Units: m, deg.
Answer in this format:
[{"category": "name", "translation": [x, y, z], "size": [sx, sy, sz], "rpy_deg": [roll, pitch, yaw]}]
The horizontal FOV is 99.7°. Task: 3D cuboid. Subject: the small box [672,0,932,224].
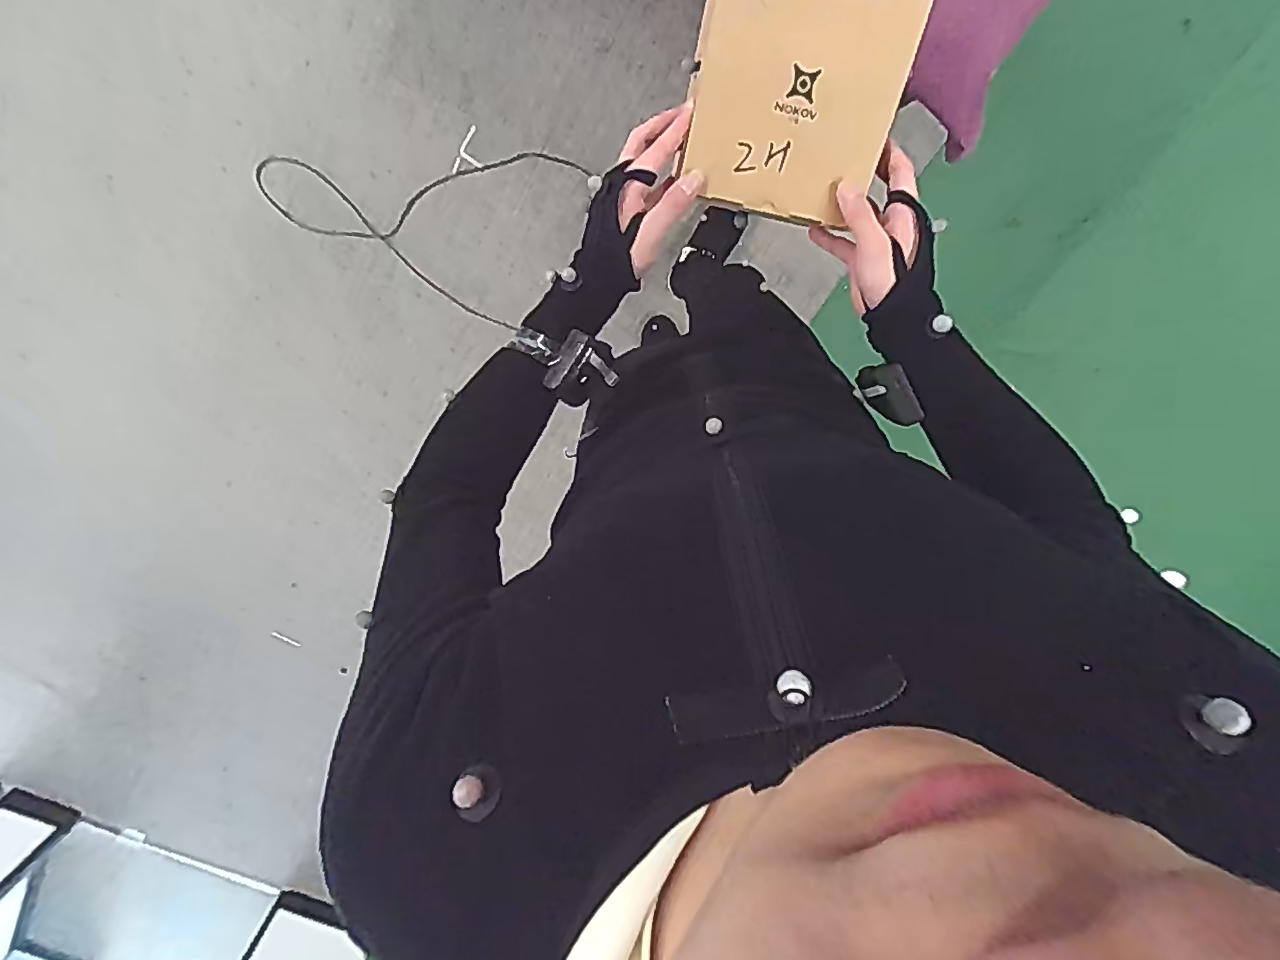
[{"category": "small box", "translation": [0.129, -0.358, 0.511], "size": [0.168, 0.176, 0.179], "rpy_deg": [11, 118, -5]}]
